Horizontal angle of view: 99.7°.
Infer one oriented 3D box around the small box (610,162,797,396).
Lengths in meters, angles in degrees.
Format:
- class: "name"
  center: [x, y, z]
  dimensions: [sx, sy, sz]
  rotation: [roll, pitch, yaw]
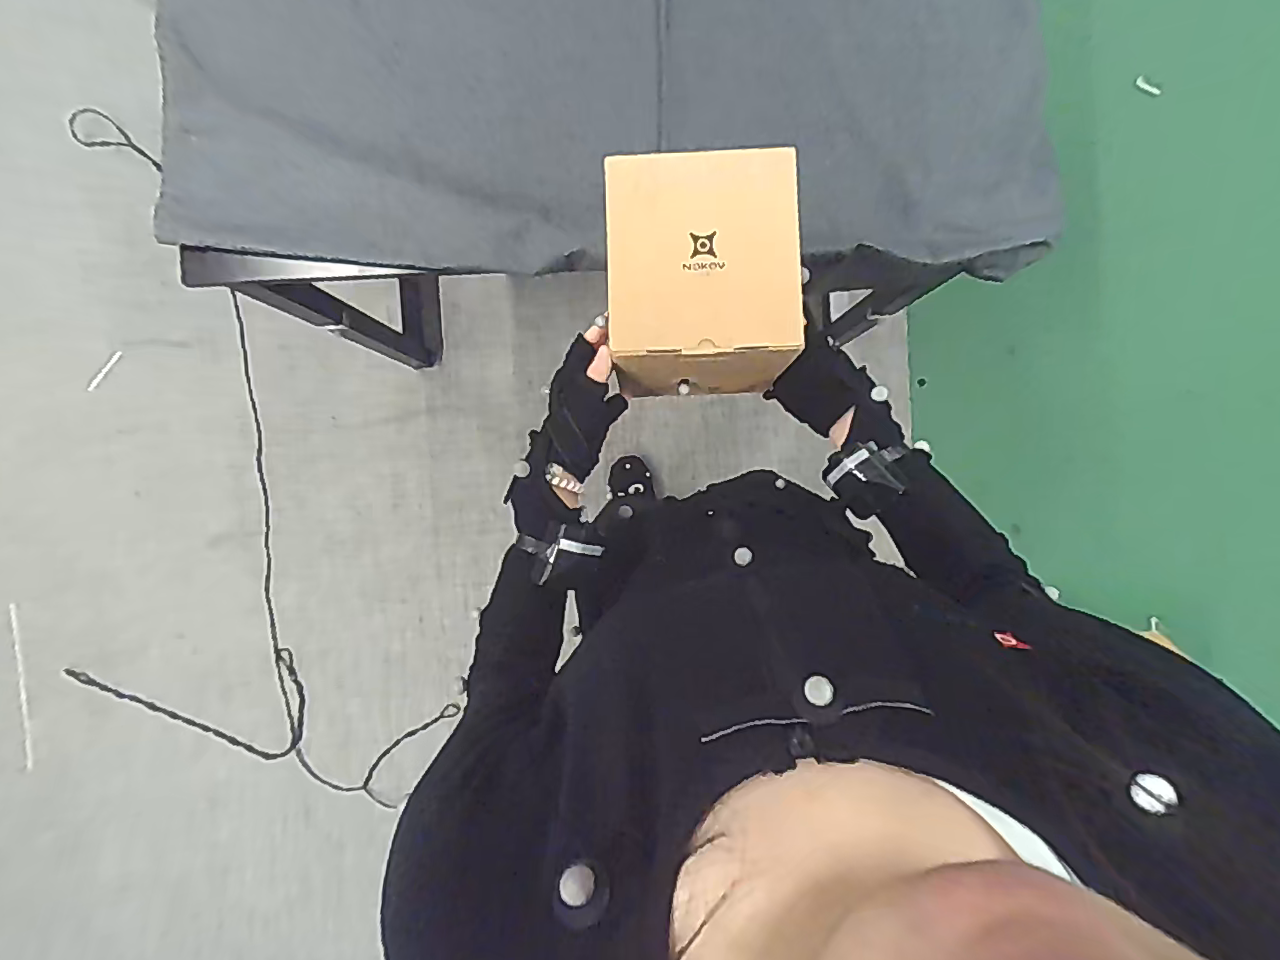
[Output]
- class: "small box"
  center: [0.055, -0.190, 0.555]
  dimensions: [0.168, 0.176, 0.179]
  rotation: [-2, 88, 1]
